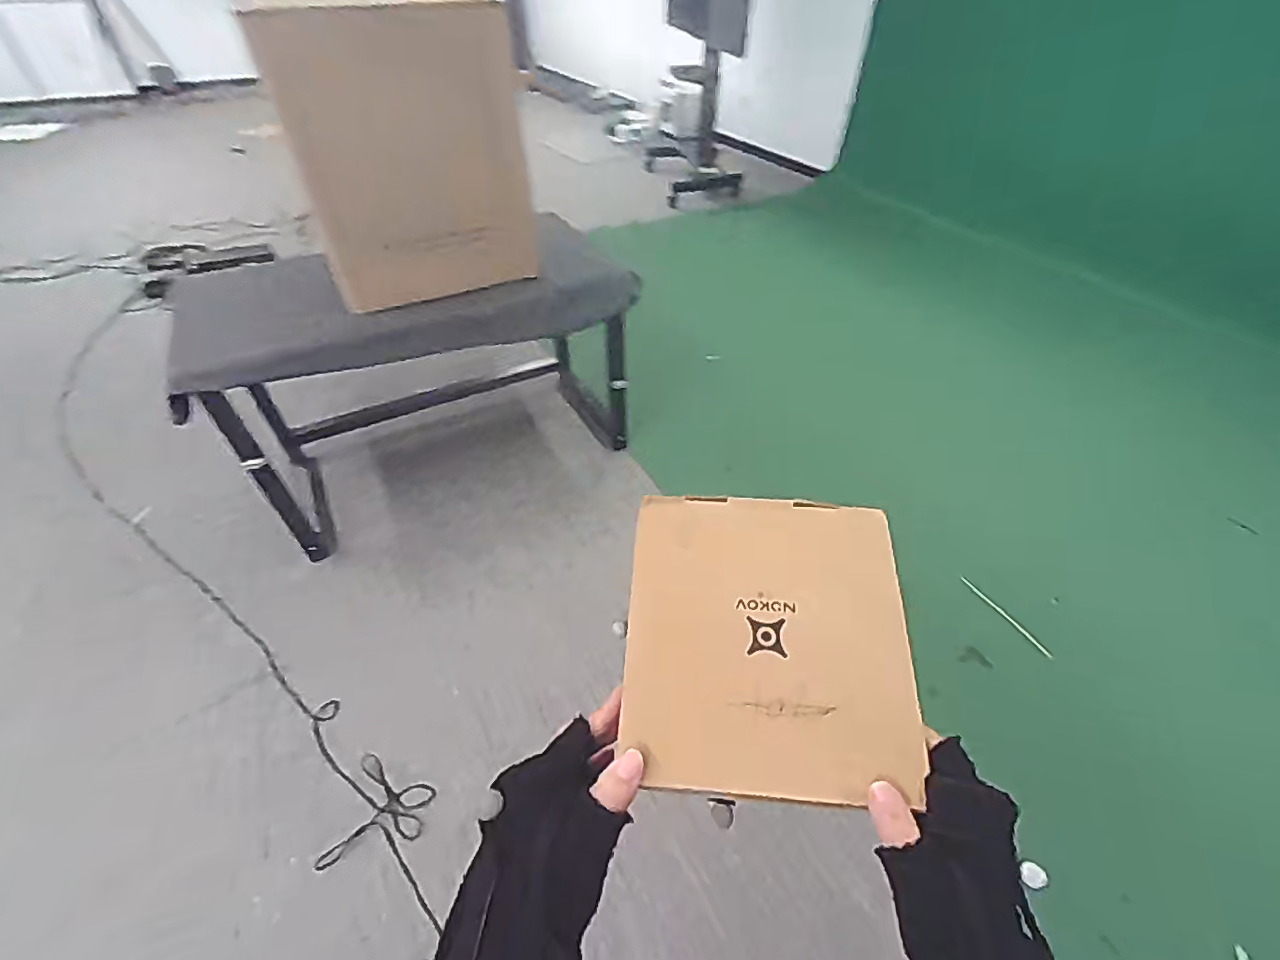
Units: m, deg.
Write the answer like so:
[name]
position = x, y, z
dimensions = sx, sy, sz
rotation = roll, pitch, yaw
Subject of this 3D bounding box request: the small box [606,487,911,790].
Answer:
[small box]
position = 0.070, 0.123, 0.399
dimensions = 0.168, 0.176, 0.179
rotation = 1, 60, 4
